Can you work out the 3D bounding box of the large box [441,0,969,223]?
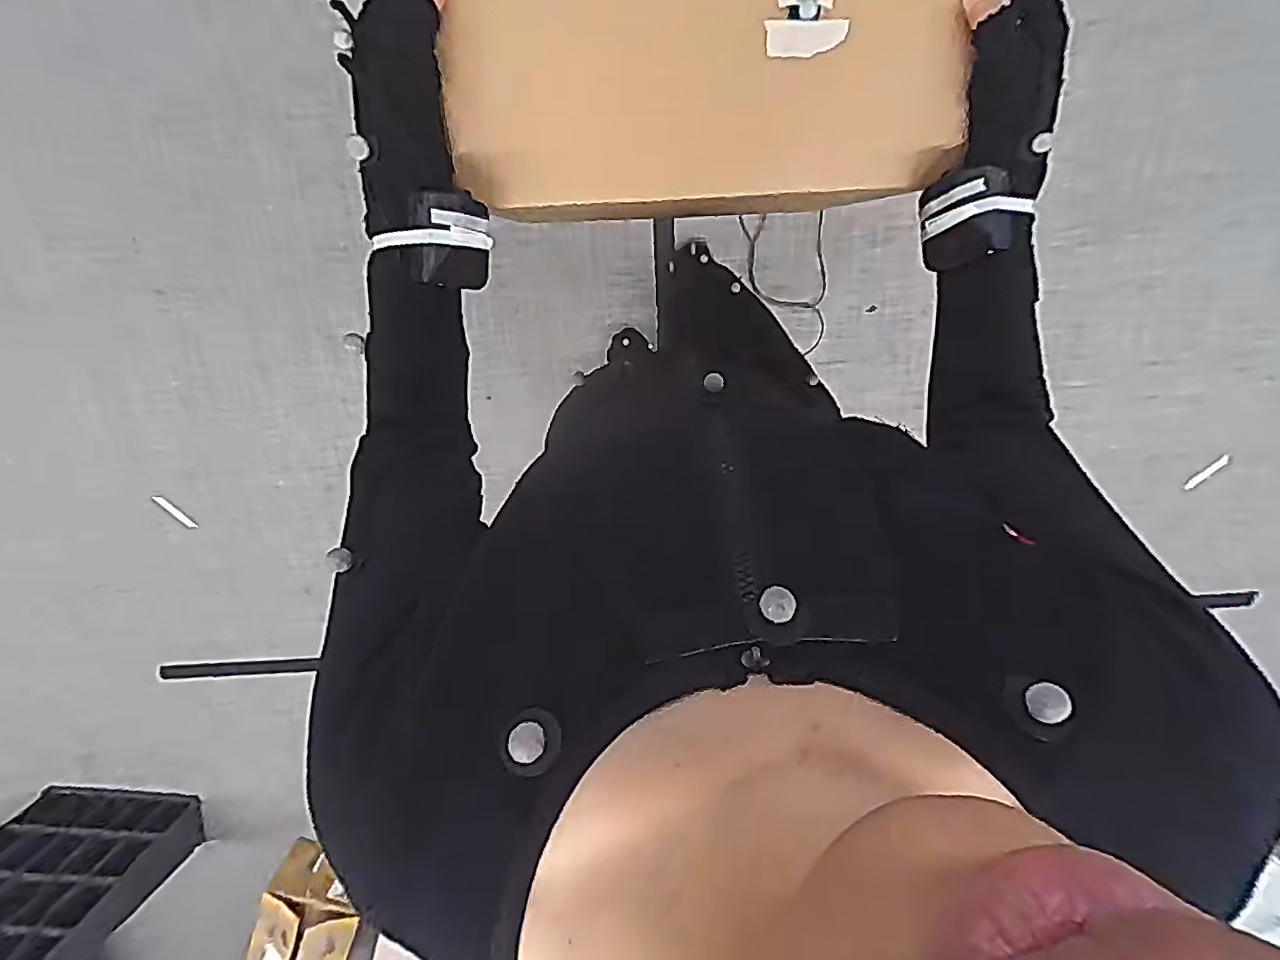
[{"bbox_3d":[0.041,-0.441,0.527,0.408,0.320,0.320,-4,114,-1],"label":"large box"}]
